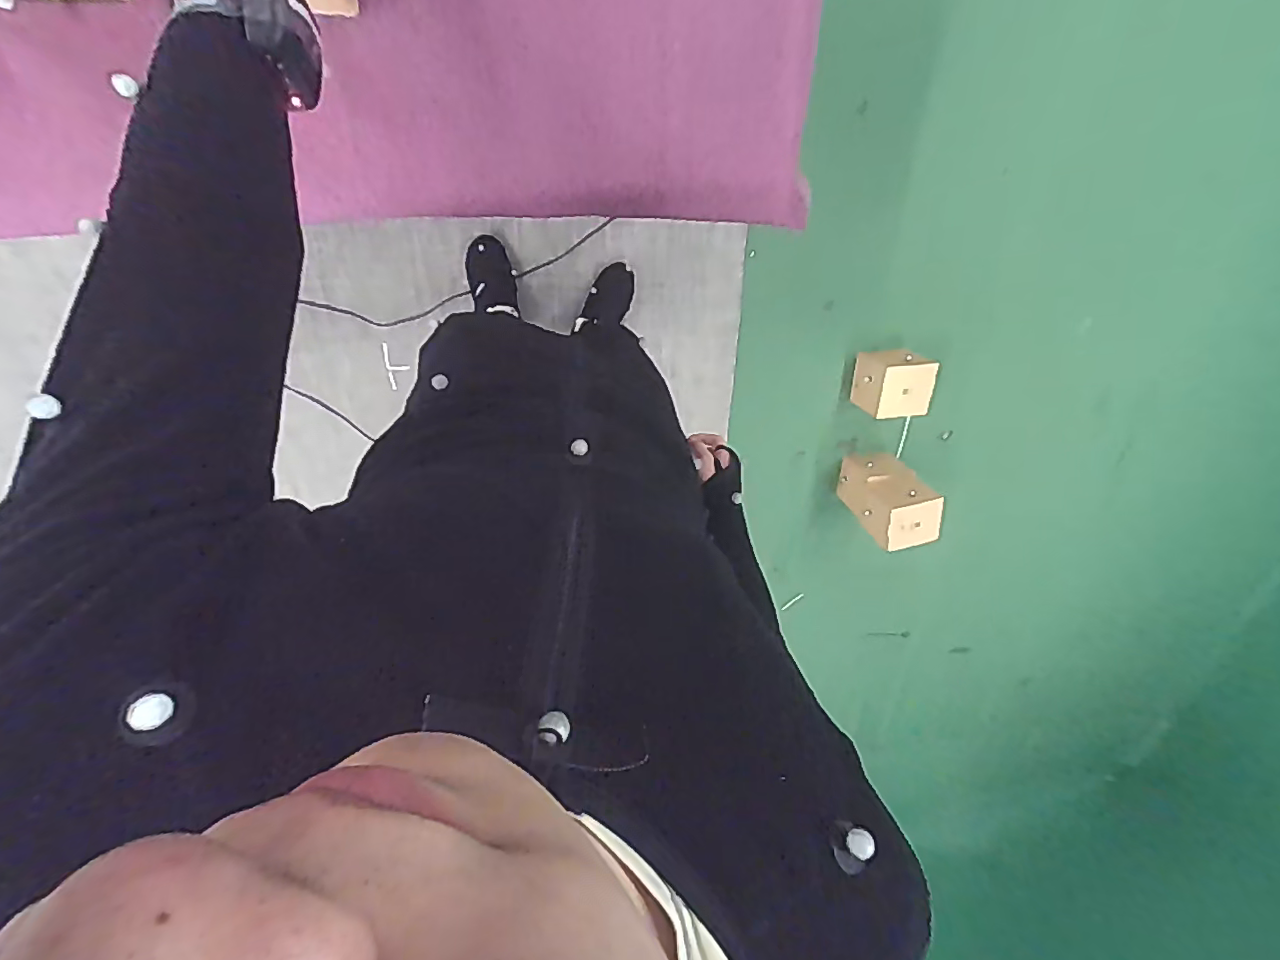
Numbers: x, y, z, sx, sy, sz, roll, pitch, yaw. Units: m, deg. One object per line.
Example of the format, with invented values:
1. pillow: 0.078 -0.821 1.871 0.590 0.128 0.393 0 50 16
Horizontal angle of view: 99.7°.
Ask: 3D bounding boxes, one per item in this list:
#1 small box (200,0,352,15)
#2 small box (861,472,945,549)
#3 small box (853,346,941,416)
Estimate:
1. small box: -0.375 -0.541 0.467 0.168 0.176 0.179 -5 120 -8
2. small box: 0.840 0.093 1.739 0.179 0.176 0.168 -13 121 -4
3. small box: 0.793 -0.313 1.690 0.179 0.176 0.168 -7 120 -9
